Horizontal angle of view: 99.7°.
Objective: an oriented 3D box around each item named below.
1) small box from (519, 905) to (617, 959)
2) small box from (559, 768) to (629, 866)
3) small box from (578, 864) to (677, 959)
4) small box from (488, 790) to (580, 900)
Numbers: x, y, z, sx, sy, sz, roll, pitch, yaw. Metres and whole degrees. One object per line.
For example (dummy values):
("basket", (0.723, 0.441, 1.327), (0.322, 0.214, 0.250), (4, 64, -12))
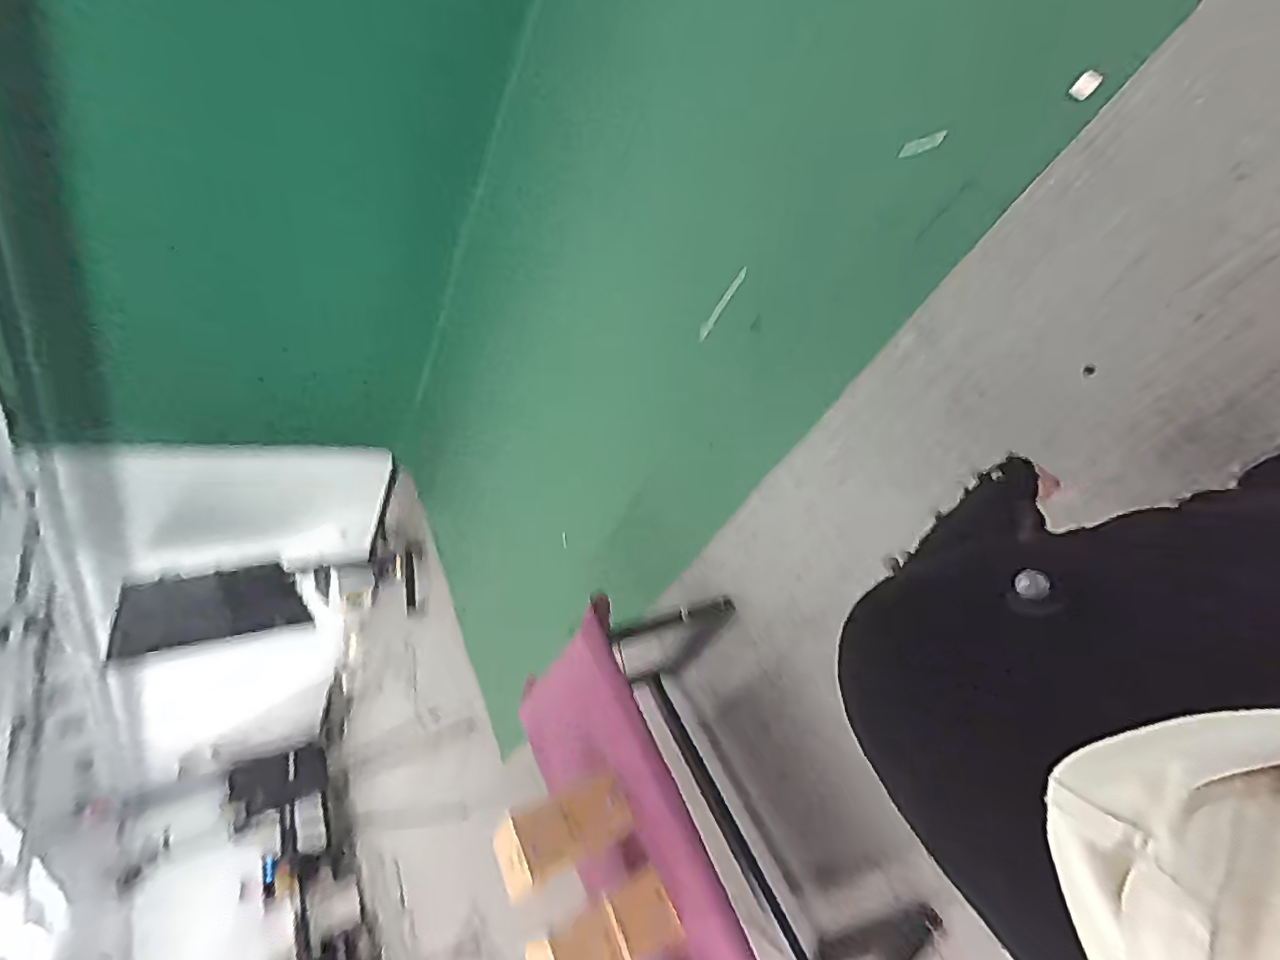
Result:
("small box", (-0.169, 1.197, 1.338), (0.179, 0.176, 0.168), (-54, 54, 36))
("small box", (-0.159, 0.972, 1.563), (0.168, 0.176, 0.179), (55, 130, 31))
("small box", (-0.034, 1.166, 1.431), (0.168, 0.176, 0.179), (56, 130, 31))
("small box", (-0.284, 0.978, 1.457), (0.168, 0.176, 0.179), (54, 130, 32))
